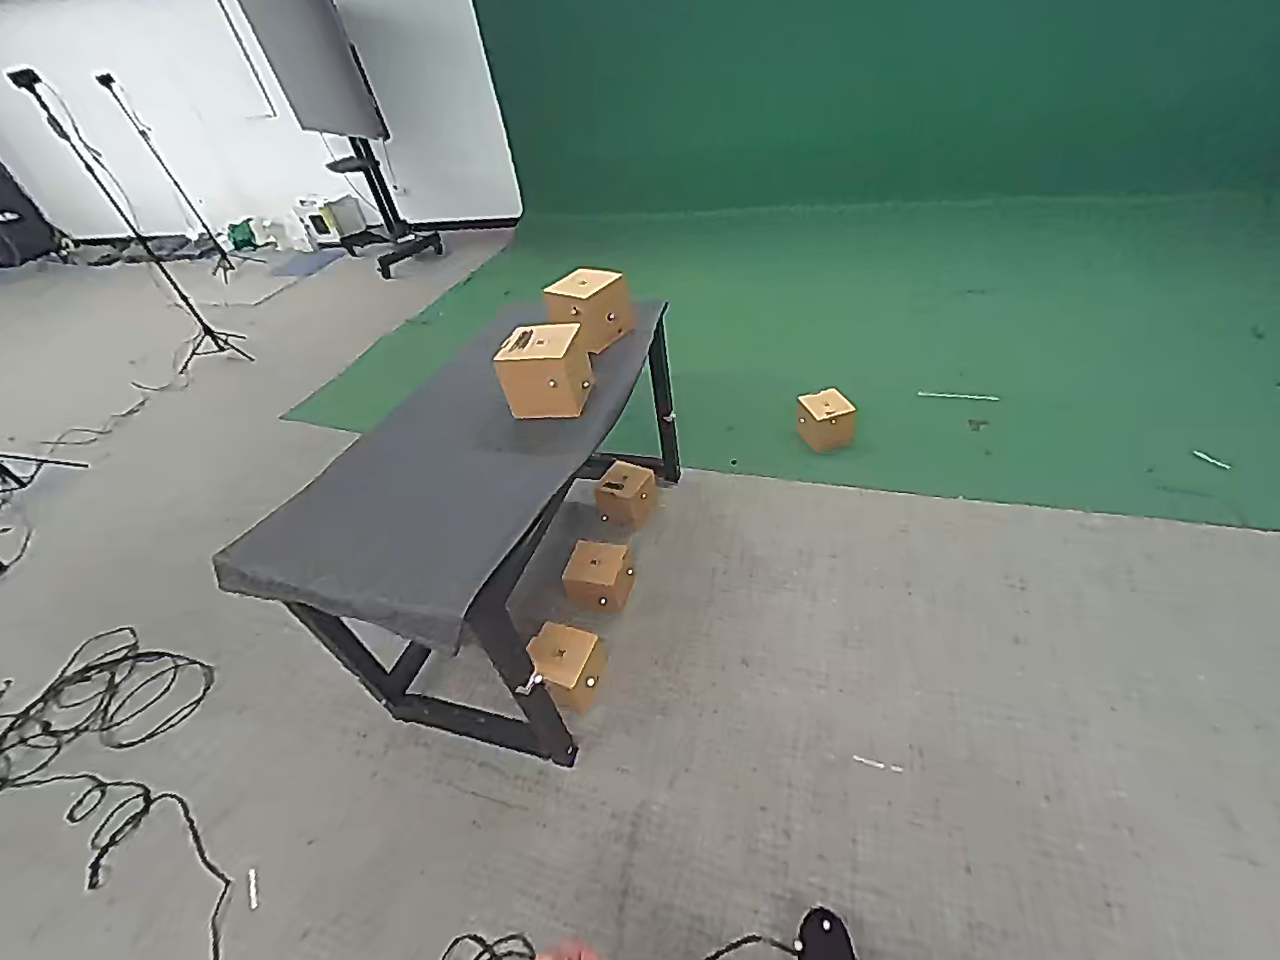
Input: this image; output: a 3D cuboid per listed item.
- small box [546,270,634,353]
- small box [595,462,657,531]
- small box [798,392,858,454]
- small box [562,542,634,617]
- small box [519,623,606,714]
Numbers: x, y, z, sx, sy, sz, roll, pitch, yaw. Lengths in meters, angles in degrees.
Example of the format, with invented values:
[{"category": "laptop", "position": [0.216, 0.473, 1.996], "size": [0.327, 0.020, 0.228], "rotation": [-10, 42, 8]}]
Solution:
[{"category": "small box", "position": [-0.138, -0.486, 1.563], "size": [0.179, 0.176, 0.168], "rotation": [22, 51, 34]}, {"category": "small box", "position": [-0.045, 0.063, 2.037], "size": [0.168, 0.176, 0.179], "rotation": [17, 47, 26]}, {"category": "small box", "position": [0.763, -0.233, 2.214], "size": [0.168, 0.176, 0.179], "rotation": [-15, 41, -6]}, {"category": "small box", "position": [-0.128, 0.326, 1.763], "size": [0.179, 0.176, 0.168], "rotation": [4, 43, 17]}, {"category": "small box", "position": [-0.212, 0.541, 1.544], "size": [0.179, 0.176, 0.168], "rotation": [10, 45, 21]}]
